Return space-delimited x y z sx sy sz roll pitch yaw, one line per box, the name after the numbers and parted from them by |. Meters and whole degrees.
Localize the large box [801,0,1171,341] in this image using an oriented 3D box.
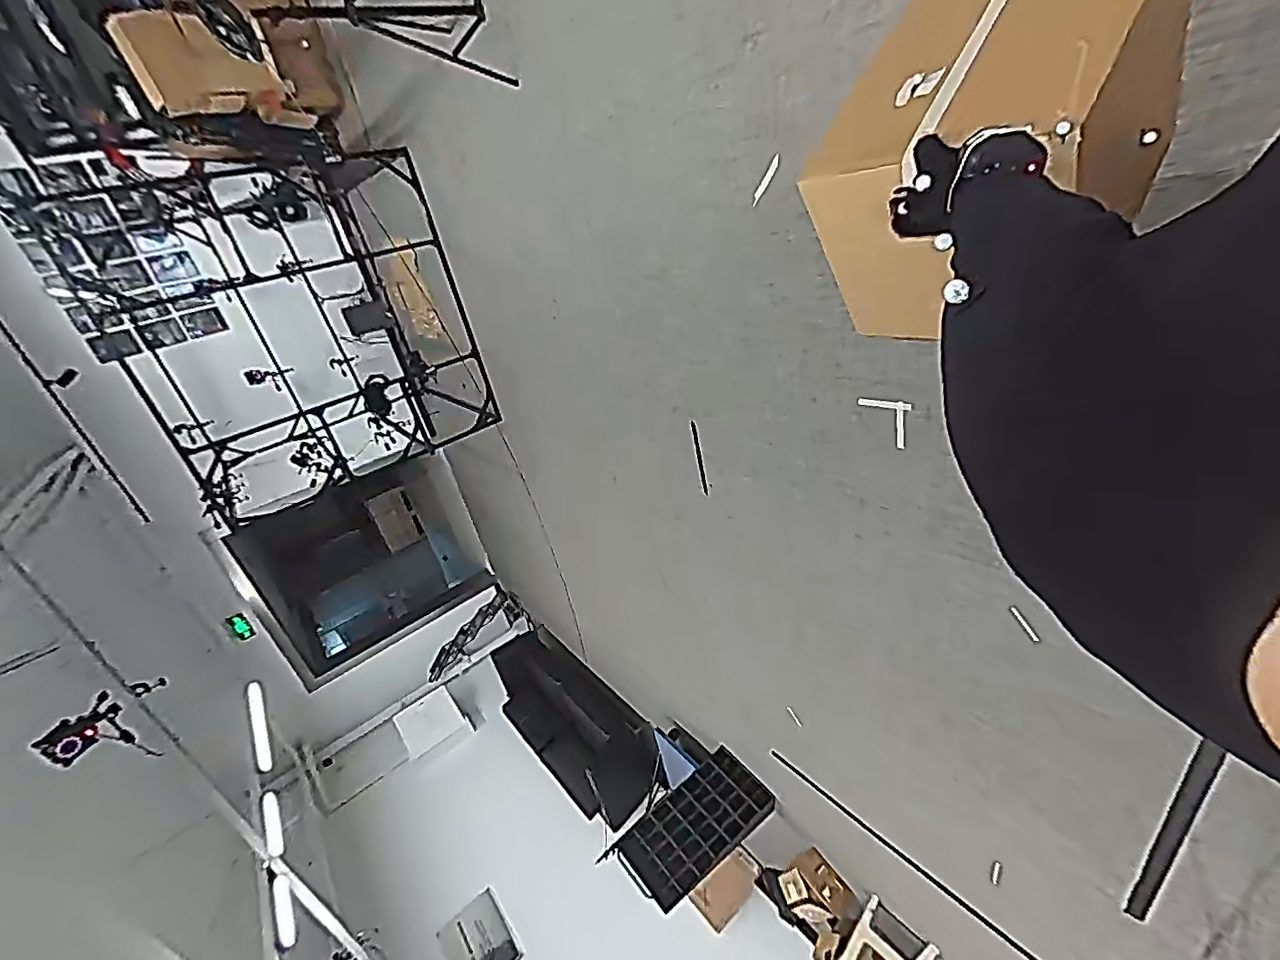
0.503 -0.463 0.782 0.320 0.408 0.320 20 165 47 | large box
